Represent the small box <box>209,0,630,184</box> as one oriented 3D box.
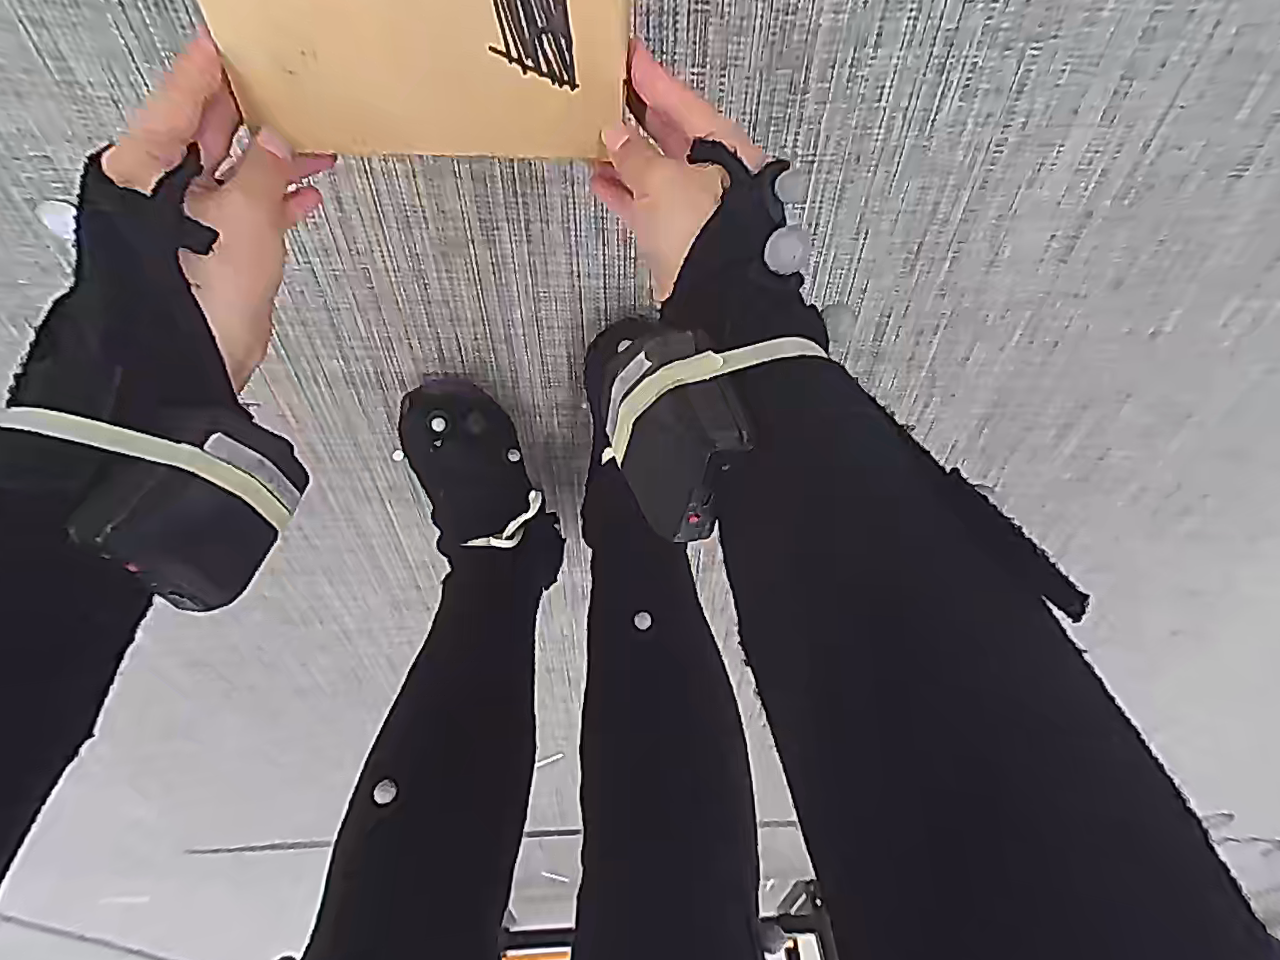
[{"bbox_3d":[-0.094,-0.264,0.276,0.179,0.176,0.168,0,131,-2],"label":"small box"}]
